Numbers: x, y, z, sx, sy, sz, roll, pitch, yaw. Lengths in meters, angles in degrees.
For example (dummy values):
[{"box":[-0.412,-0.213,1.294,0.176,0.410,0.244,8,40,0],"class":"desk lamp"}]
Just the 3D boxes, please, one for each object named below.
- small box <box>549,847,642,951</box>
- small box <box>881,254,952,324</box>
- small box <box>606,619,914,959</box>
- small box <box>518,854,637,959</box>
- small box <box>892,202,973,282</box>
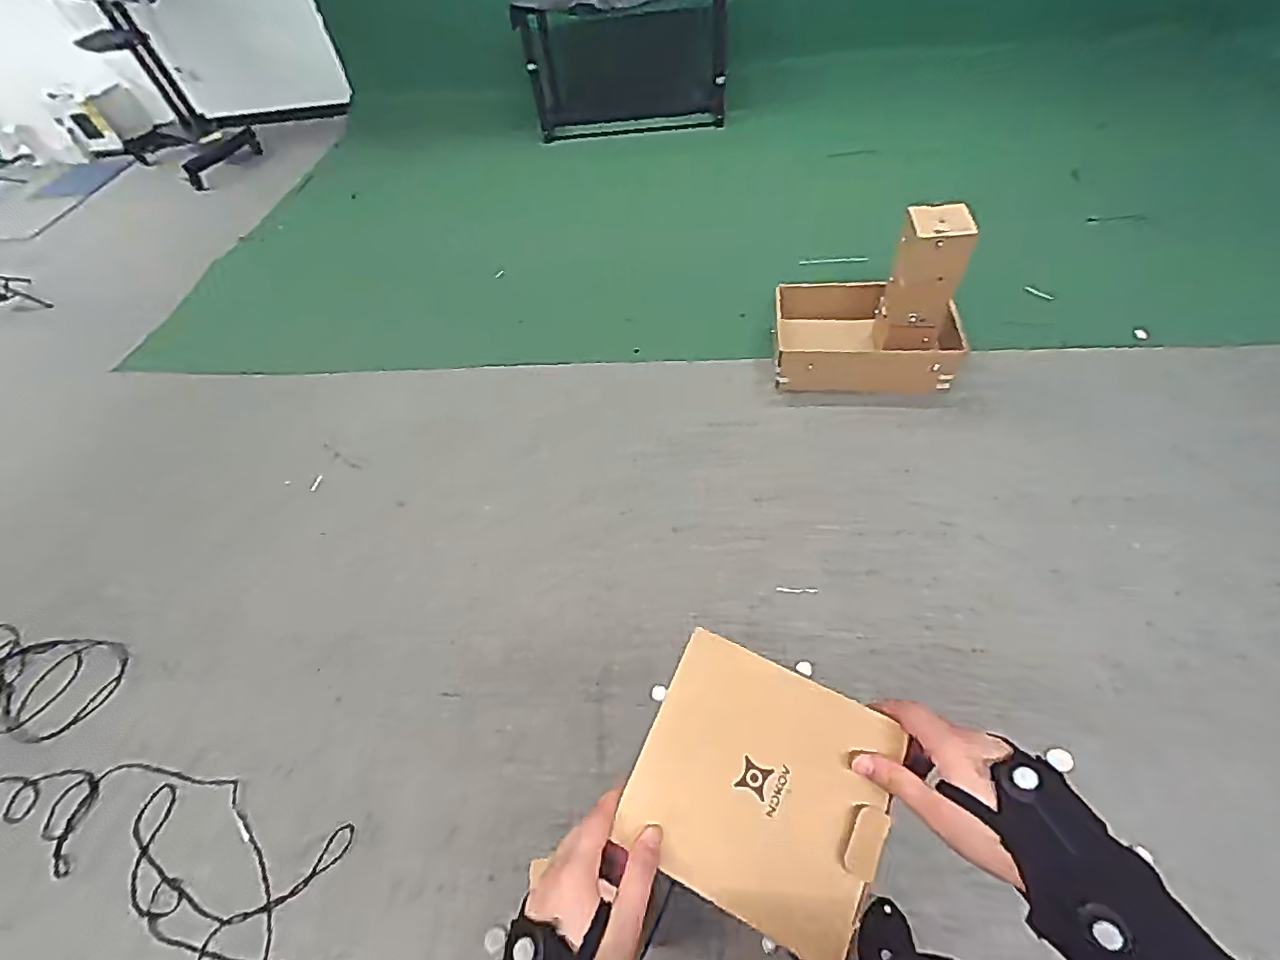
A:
[{"box":[-0.089,0.859,1.110,0.179,0.176,0.168,-7,52,3],"class":"small box"},{"box":[0.926,-0.651,1.831,0.168,0.176,0.179,2,56,11],"class":"small box"},{"box":[0.093,0.241,0.463,0.179,0.176,0.168,24,73,13],"class":"small box"},{"box":[-0.103,0.775,0.969,0.179,0.176,0.168,-3,54,4],"class":"small box"},{"box":[0.907,-0.746,1.698,0.168,0.176,0.179,0,54,9],"class":"small box"}]
